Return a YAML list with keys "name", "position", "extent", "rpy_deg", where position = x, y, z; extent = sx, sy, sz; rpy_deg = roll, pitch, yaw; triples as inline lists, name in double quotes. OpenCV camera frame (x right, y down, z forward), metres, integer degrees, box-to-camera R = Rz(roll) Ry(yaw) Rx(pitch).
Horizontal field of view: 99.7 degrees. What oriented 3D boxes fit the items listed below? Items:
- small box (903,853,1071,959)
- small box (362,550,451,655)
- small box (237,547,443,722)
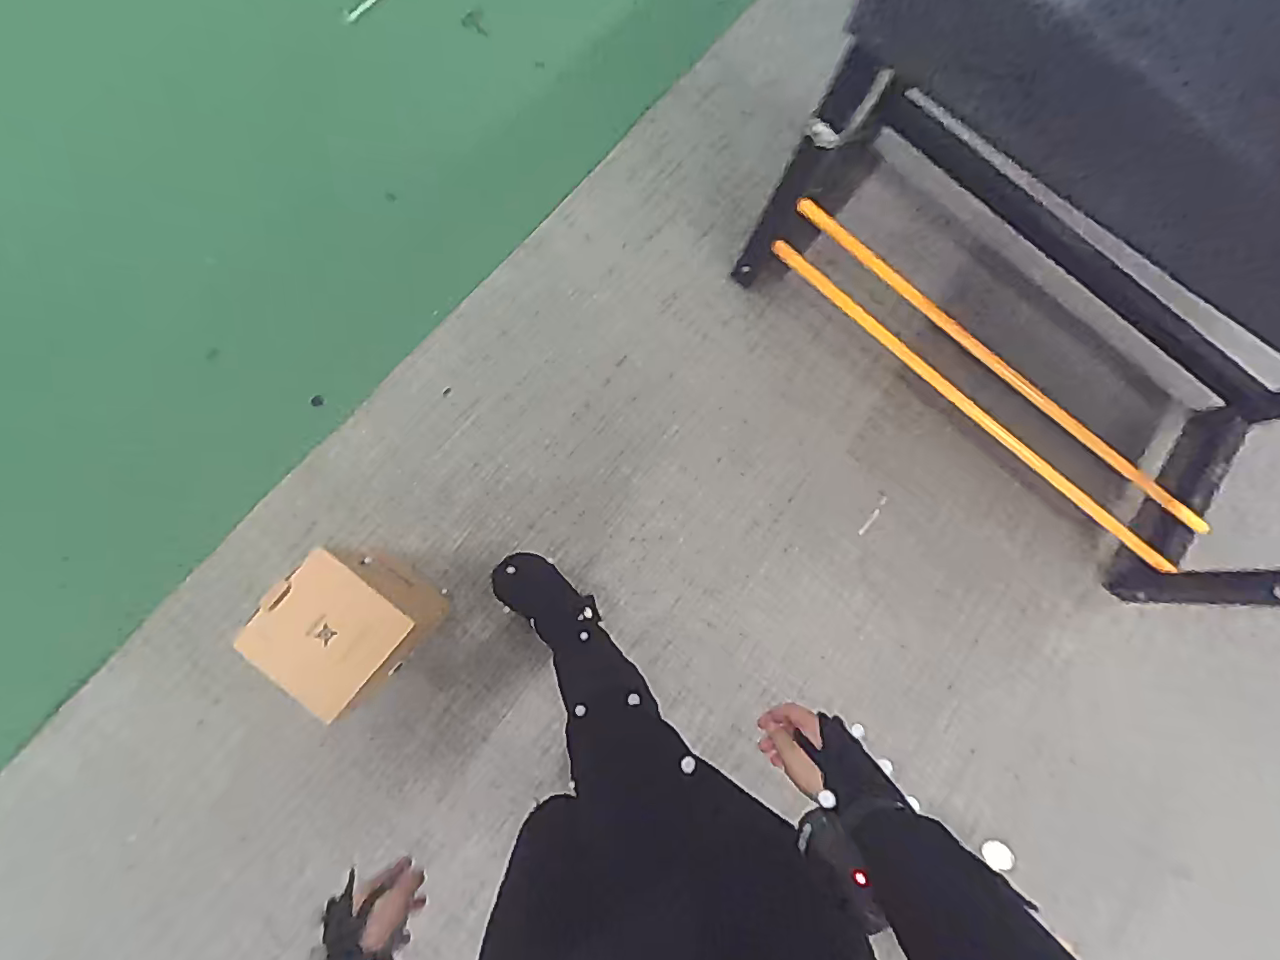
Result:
- name: "small box"
  position: [0.621, 0.834, 0.987]
  extent: [0.168, 0.176, 0.179]
  rpy_deg: [33, 76, 0]
- name: "small box"
  position: [-0.461, 0.245, 0.961]
  extent: [0.168, 0.176, 0.179]
  rpy_deg: [40, 78, 2]
- name: "small box"
  position: [-0.427, 0.220, 0.803]
  extent: [0.179, 0.176, 0.168]
  rpy_deg: [38, 78, 0]
